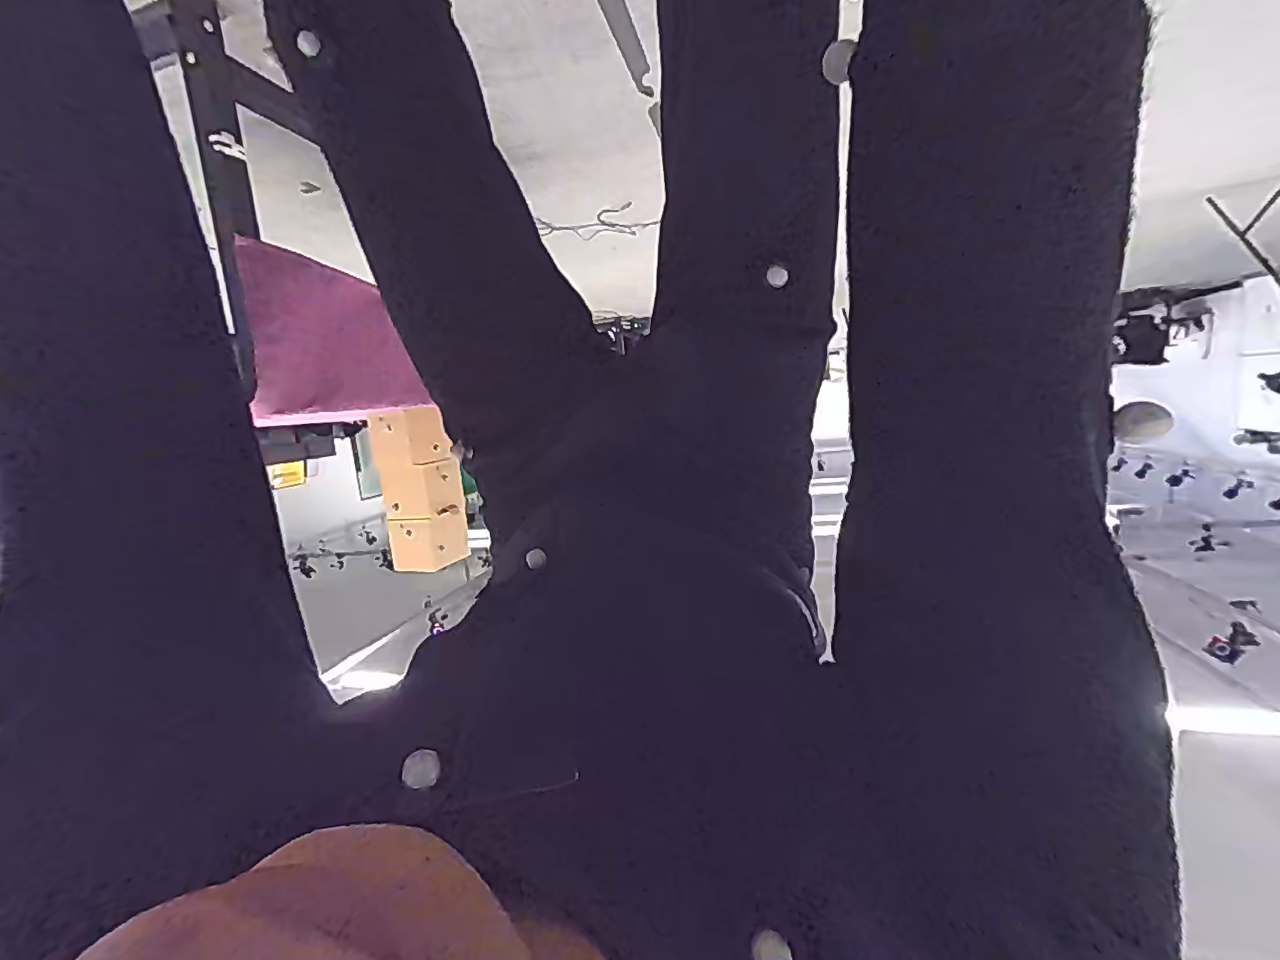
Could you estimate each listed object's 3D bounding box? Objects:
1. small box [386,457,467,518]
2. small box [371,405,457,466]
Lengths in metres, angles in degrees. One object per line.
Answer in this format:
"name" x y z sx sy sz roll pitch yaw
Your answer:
"small box" -0.679 0.019 1.715 0.179 0.176 0.168 -3 -170 21
"small box" -0.696 -0.140 1.669 0.168 0.176 0.179 -2 -171 26
